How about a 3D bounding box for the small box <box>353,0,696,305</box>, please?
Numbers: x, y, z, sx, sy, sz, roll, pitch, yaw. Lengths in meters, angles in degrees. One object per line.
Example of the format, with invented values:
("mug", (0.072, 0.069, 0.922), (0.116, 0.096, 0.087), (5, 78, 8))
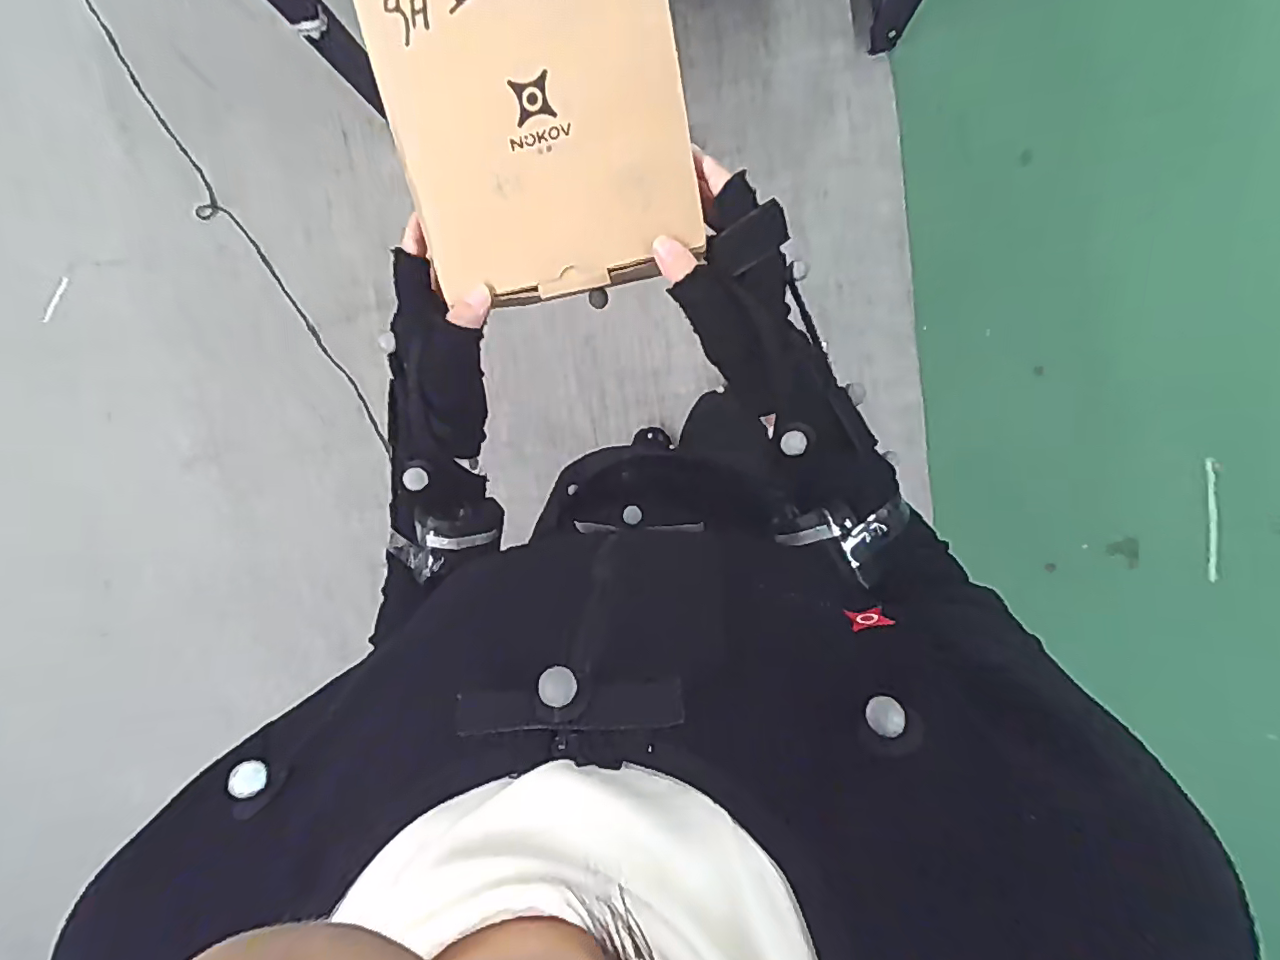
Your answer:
("small box", (-0.053, -0.231, 0.379), (0.168, 0.176, 0.179), (-9, 108, 9))
